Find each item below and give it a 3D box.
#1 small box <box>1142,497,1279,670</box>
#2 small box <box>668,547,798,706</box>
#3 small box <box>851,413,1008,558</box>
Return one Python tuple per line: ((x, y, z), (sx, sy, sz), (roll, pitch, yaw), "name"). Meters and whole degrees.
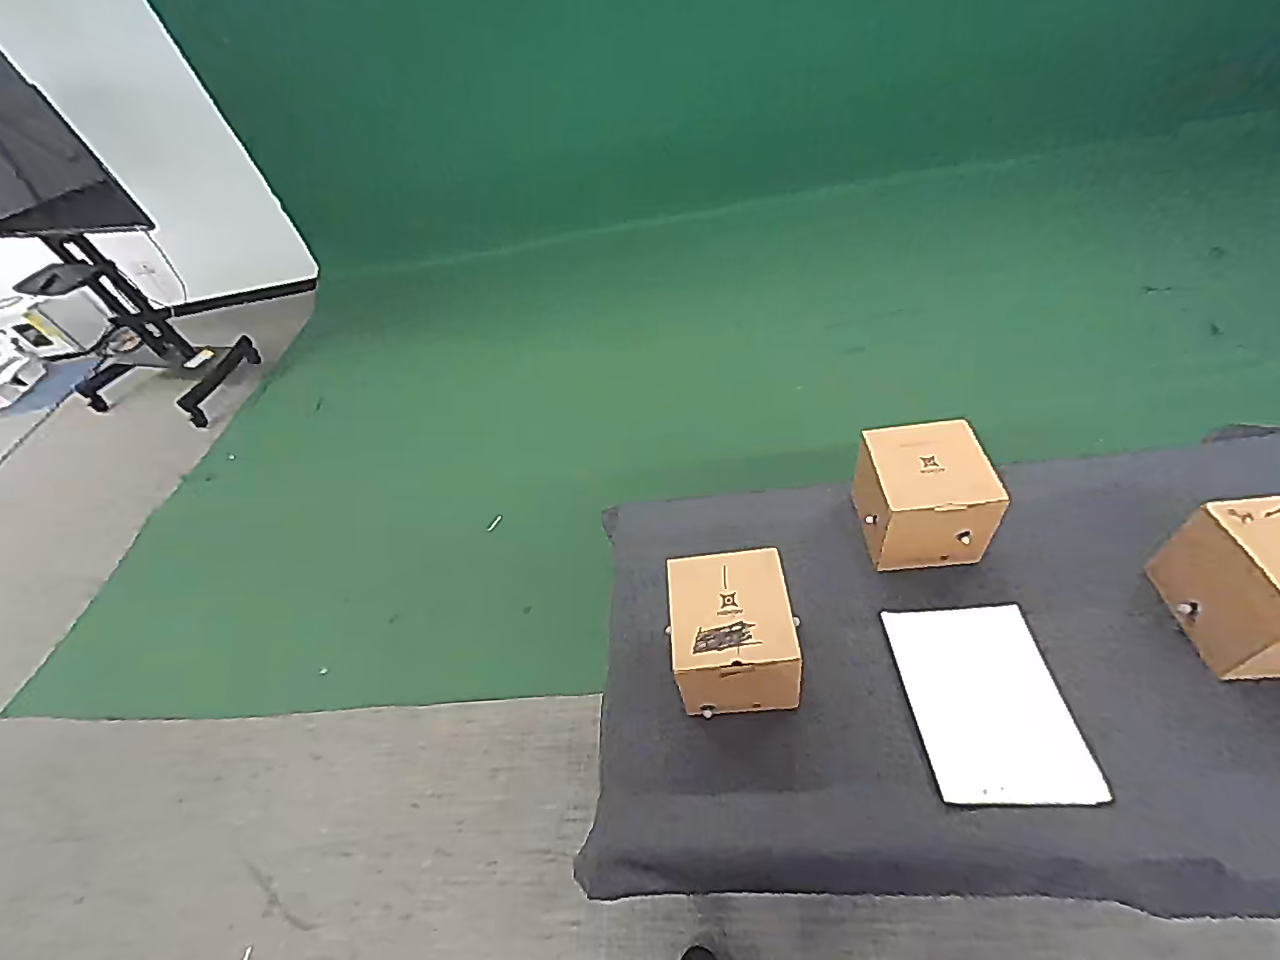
((0.832, 0.140, 0.709), (0.168, 0.176, 0.179), (-6, 50, 9), "small box")
((0.137, 0.225, 0.807), (0.168, 0.176, 0.179), (-7, 48, 7), "small box")
((0.459, 0.017, 0.890), (0.168, 0.176, 0.179), (-6, 48, 7), "small box")
